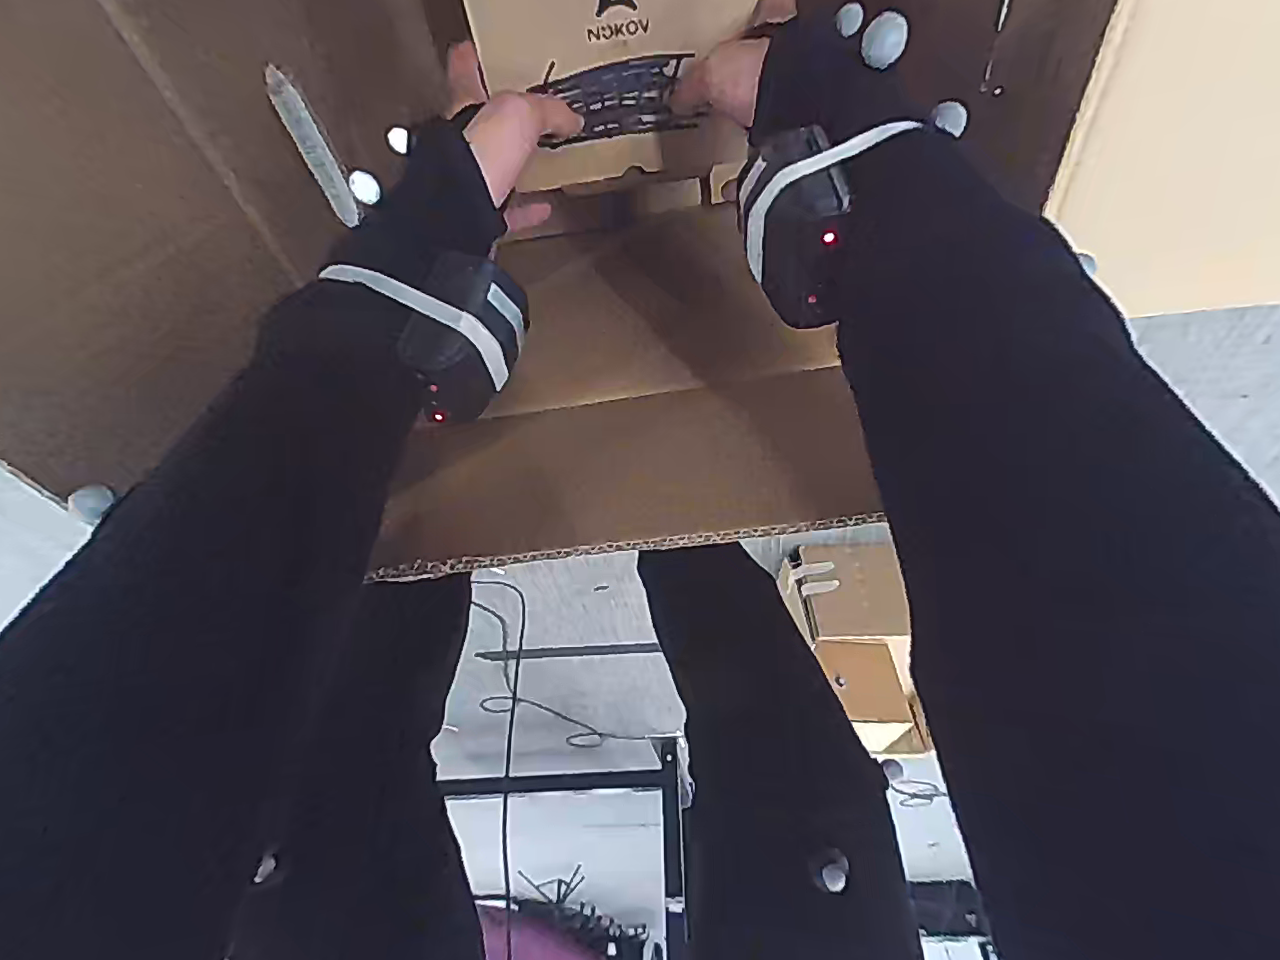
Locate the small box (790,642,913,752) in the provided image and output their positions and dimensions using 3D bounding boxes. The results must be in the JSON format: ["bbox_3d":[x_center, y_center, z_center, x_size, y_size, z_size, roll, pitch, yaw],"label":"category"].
[{"bbox_3d":[0.434,0.459,1.148,0.179,0.176,0.168,4,136,-4],"label":"small box"}]
